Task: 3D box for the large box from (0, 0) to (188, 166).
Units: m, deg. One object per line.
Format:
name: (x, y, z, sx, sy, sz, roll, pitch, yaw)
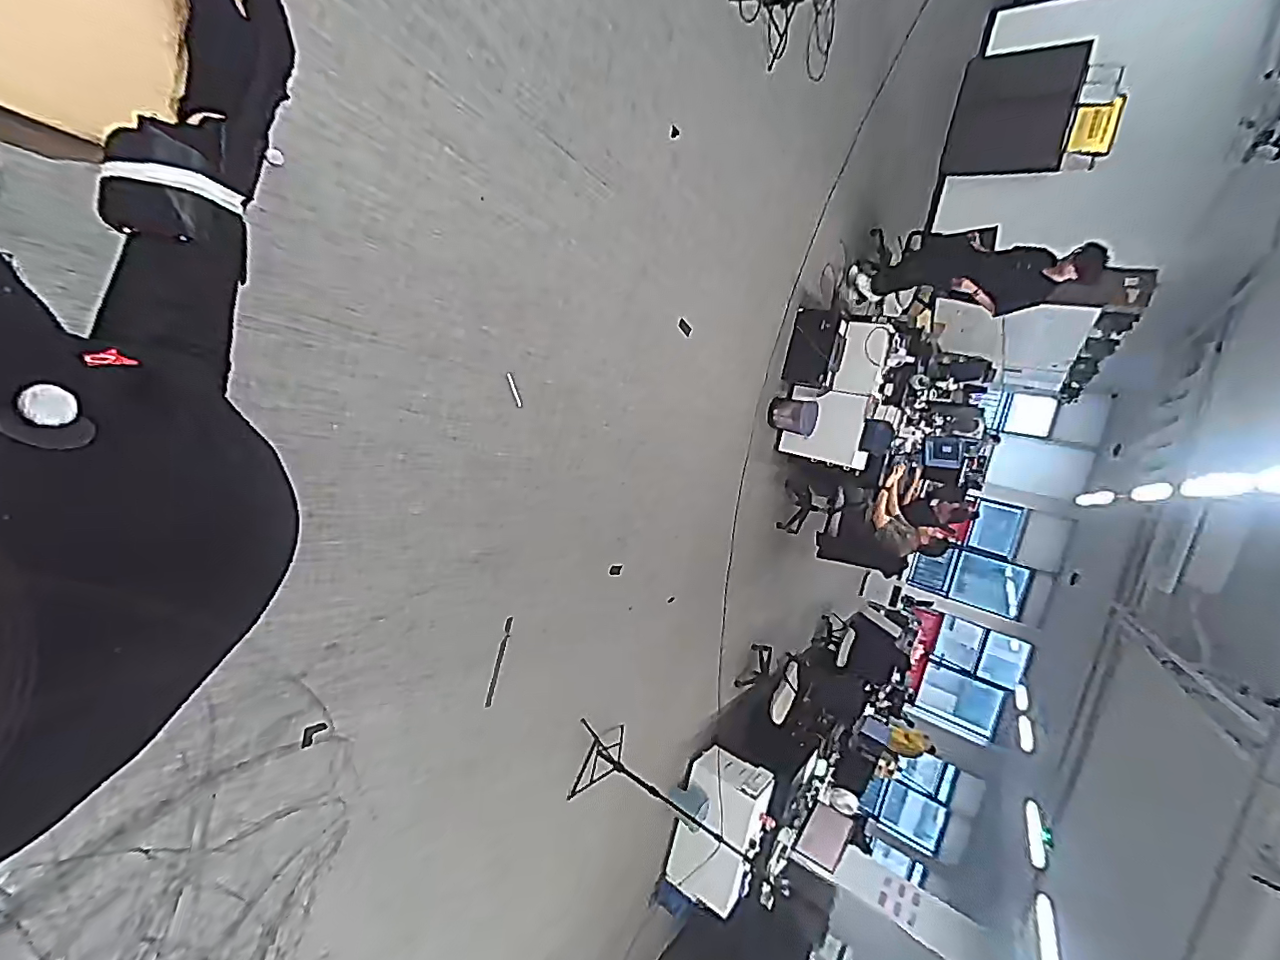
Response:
large box: (-0.541, -0.424, 0.284, 0.408, 0.320, 0.320, 0, 109, -61)
